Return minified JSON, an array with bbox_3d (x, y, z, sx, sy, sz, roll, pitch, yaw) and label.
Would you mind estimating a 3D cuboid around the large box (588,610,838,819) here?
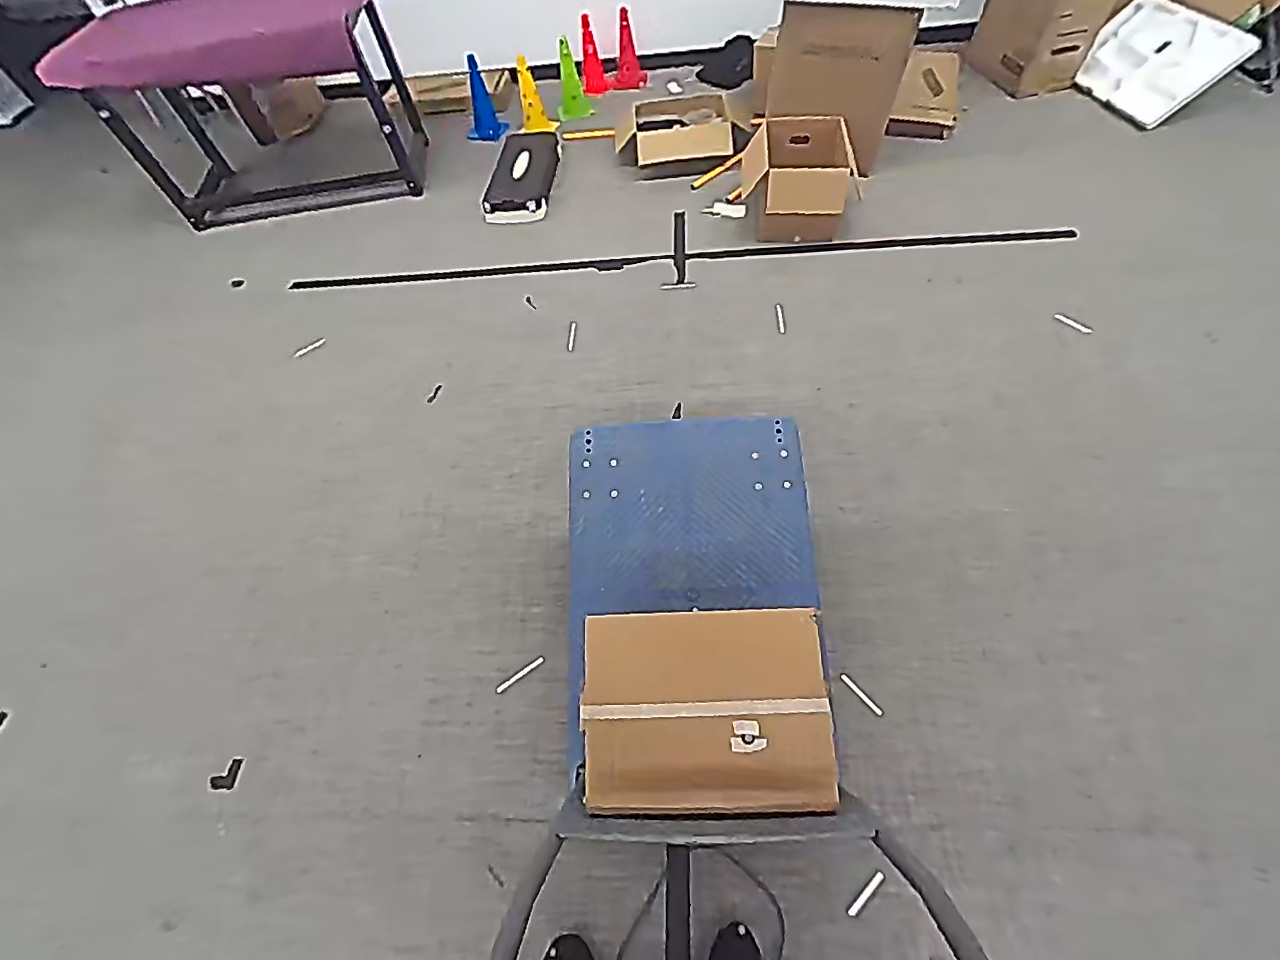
[{"bbox_3d":[0.119,0.434,1.056,0.408,0.320,0.320,-3,74,2],"label":"large box"}]
